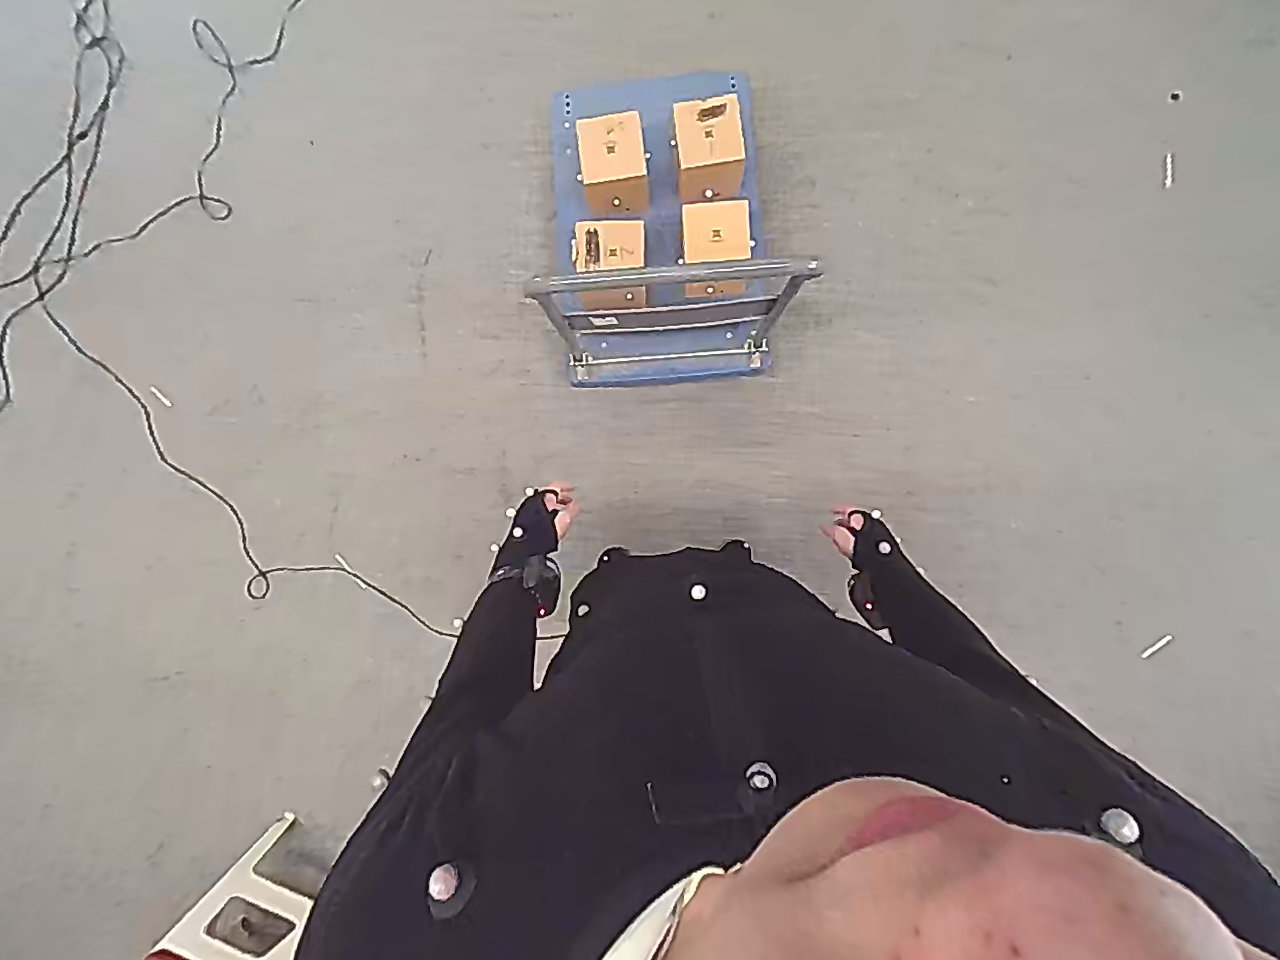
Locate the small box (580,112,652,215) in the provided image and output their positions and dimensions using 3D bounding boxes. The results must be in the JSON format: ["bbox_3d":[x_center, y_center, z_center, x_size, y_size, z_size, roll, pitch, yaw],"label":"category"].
[{"bbox_3d":[-0.060,-0.839,1.456,0.168,0.176,0.179,-7,86,2],"label":"small box"}]

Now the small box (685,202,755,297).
[{"bbox_3d":[0.205,-0.603,1.428,0.168,0.176,0.179,-2,87,3],"label":"small box"}]

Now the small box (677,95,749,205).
[{"bbox_3d":[0.189,-0.872,1.442,0.168,0.176,0.179,-7,88,4],"label":"small box"}]
